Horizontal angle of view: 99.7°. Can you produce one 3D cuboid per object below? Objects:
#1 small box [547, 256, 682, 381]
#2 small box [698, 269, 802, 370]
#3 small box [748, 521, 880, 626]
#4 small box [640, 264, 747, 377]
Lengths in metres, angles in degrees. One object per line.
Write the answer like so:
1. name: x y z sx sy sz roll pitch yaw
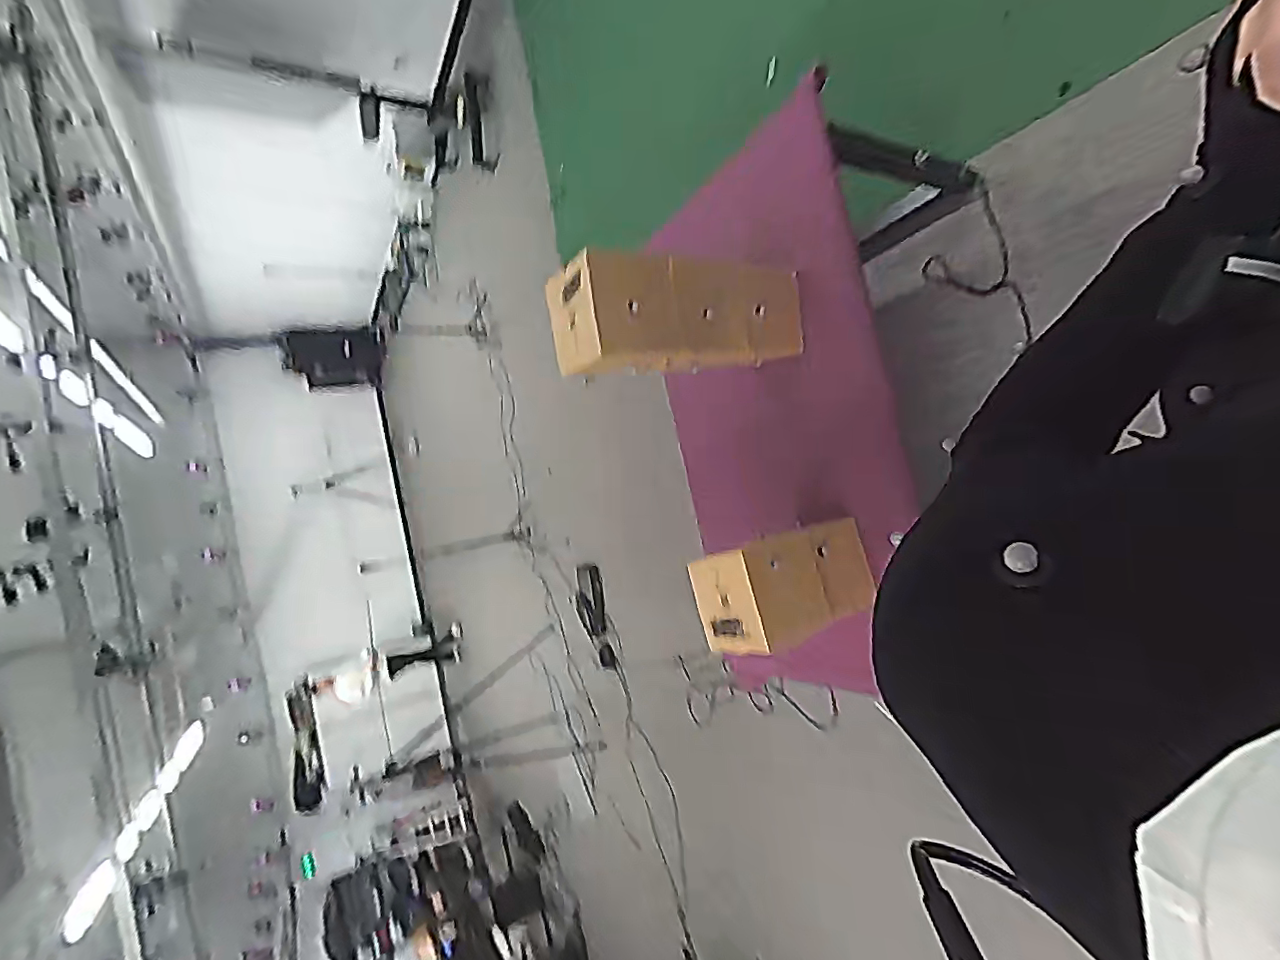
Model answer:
1. small box: -0.045 -0.283 0.975 0.168 0.176 0.179 -5 96 57
2. small box: 0.226 -0.338 1.152 0.168 0.176 0.179 2 102 56
3. small box: 0.358 0.189 1.113 0.168 0.176 0.179 -26 78 57
4. small box: 0.092 -0.310 1.063 0.168 0.176 0.179 -3 98 56
